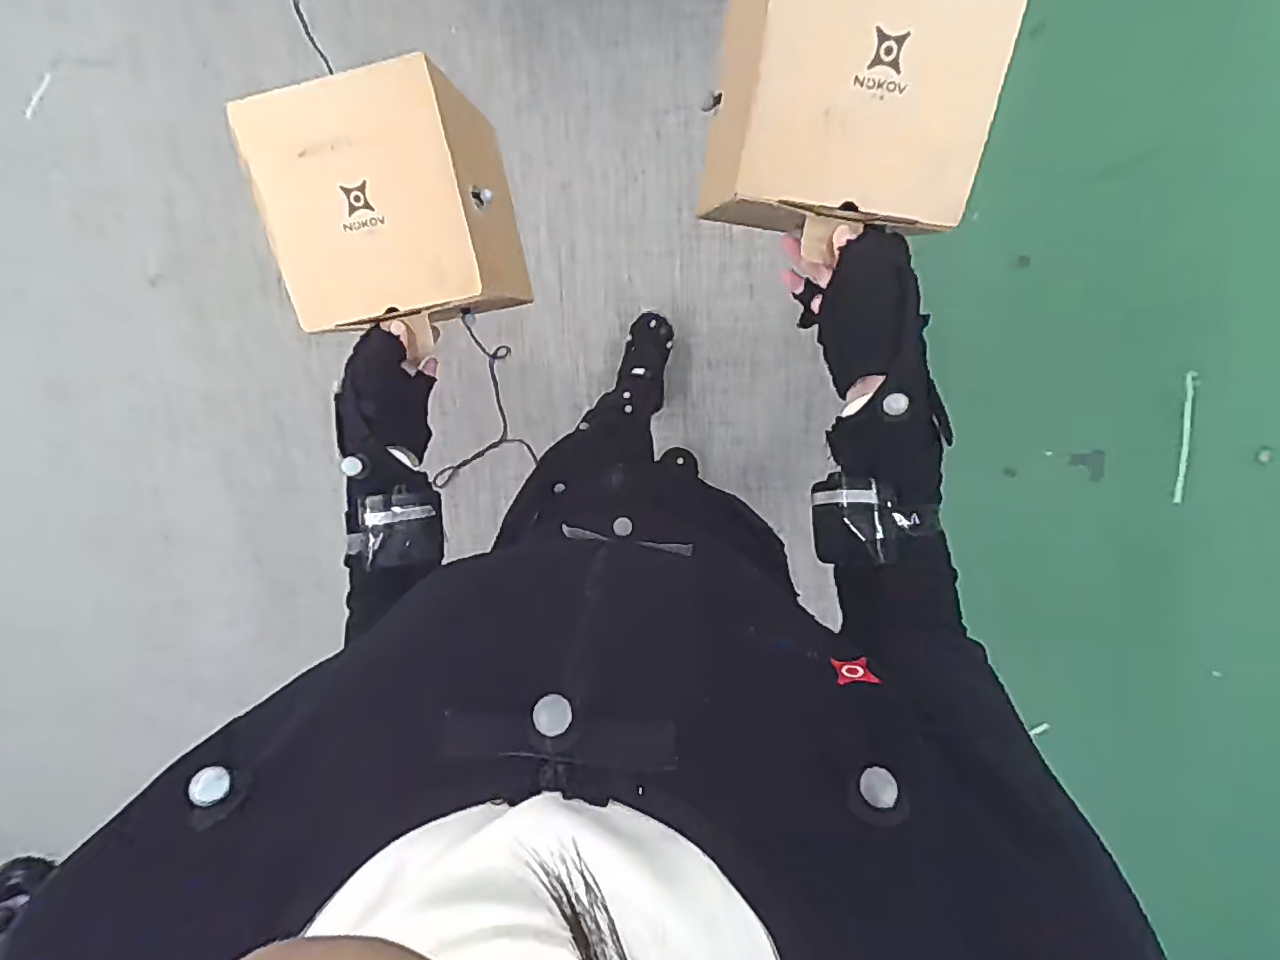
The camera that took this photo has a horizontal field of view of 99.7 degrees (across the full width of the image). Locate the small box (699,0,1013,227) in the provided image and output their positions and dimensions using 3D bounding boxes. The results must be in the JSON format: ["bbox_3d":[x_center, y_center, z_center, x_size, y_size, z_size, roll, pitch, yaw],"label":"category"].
[{"bbox_3d":[0.147,-0.306,0.427,0.168,0.176,0.179,5,112,-6],"label":"small box"}]

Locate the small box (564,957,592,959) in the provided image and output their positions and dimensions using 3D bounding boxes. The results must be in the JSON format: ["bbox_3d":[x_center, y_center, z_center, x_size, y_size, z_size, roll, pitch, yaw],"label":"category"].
[{"bbox_3d":[-0.129,1.251,1.242,0.179,0.176,0.168,-3,92,7],"label":"small box"}]

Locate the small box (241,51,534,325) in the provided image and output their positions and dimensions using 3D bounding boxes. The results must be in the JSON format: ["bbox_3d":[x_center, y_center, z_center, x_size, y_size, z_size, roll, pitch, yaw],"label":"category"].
[{"bbox_3d":[-0.213,-0.253,0.515,0.168,0.176,0.179,-10,106,7],"label":"small box"}]
